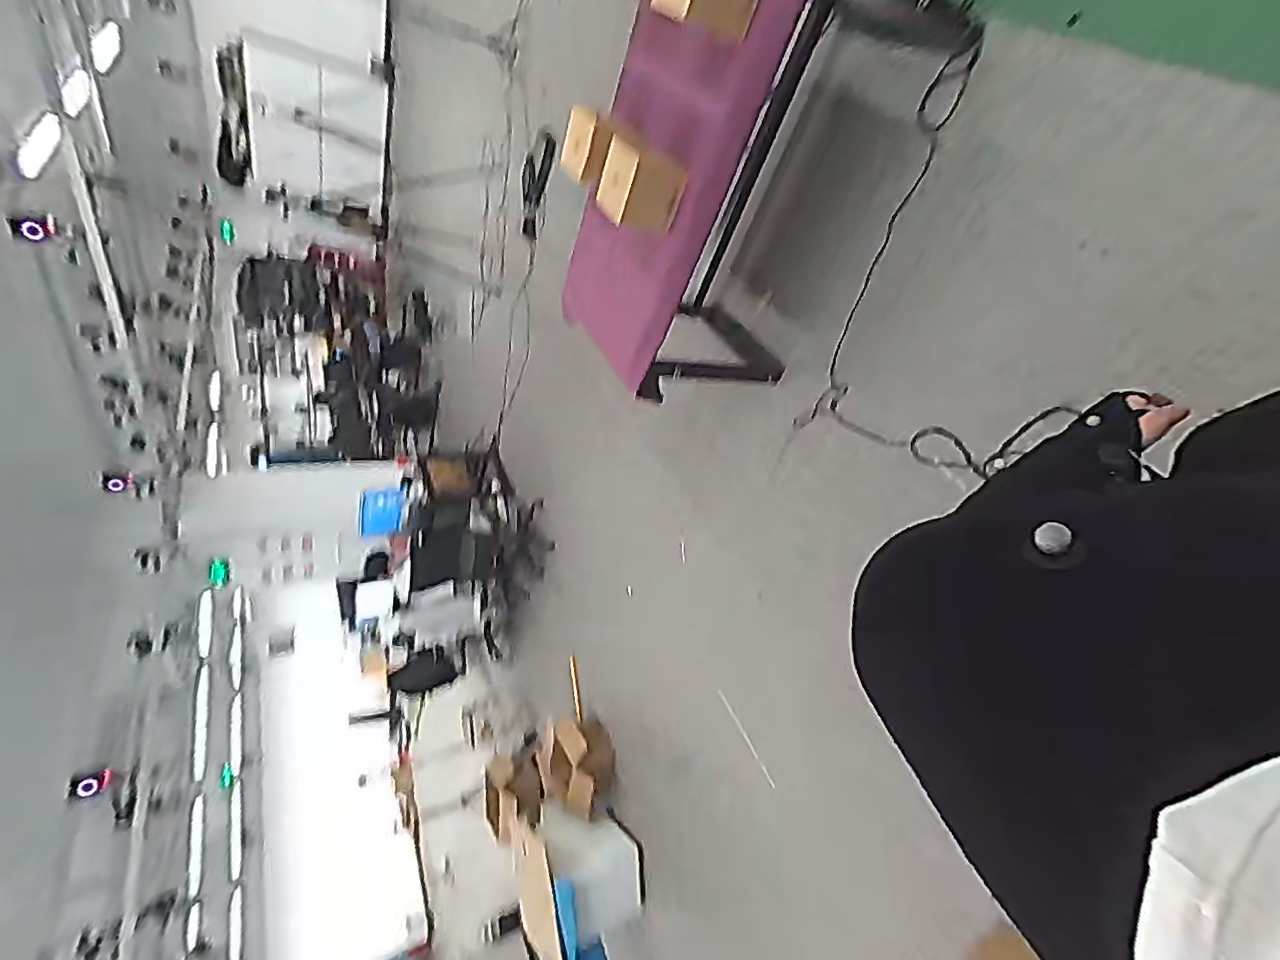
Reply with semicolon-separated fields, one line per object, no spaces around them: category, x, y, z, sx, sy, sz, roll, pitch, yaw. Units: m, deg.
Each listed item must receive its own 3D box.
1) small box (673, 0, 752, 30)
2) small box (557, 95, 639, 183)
small box;0.156;-1.142;1.201;0.179;0.176;0.168;61;141;35
small box;-0.129;-1.038;1.656;0.179;0.176;0.168;57;137;34
